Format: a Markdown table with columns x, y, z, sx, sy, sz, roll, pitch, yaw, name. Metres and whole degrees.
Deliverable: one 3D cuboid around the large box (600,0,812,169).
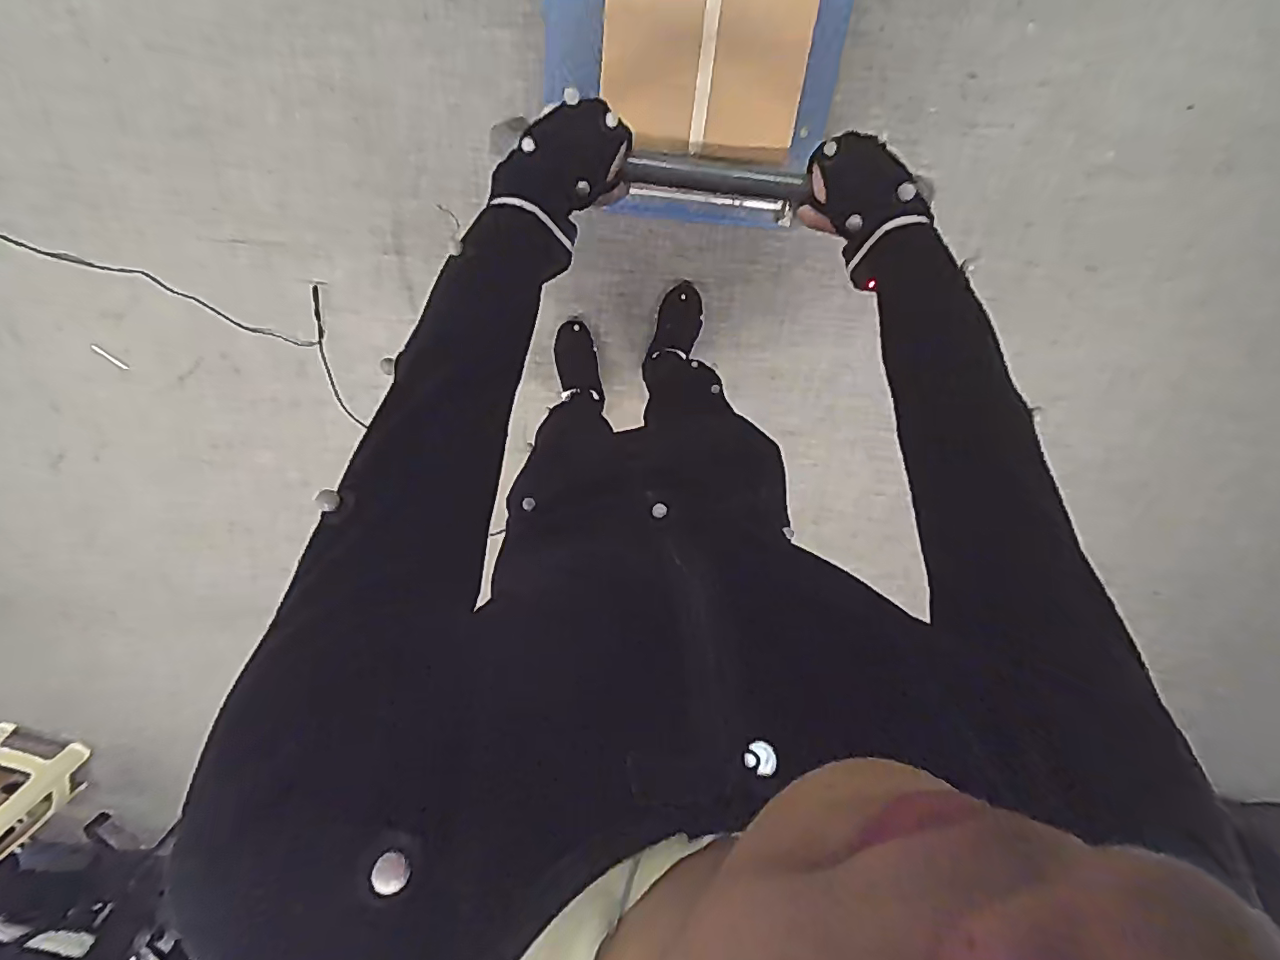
| x | y | z | sx | sy | sz | roll | pitch | yaw | name |
| --- | --- | --- | --- | --- | --- | --- | --- | --- | --- |
| 0.107 | -0.788 | 0.934 | 0.320 | 0.320 | 0.408 | 5 | 116 | -2 | large box |
